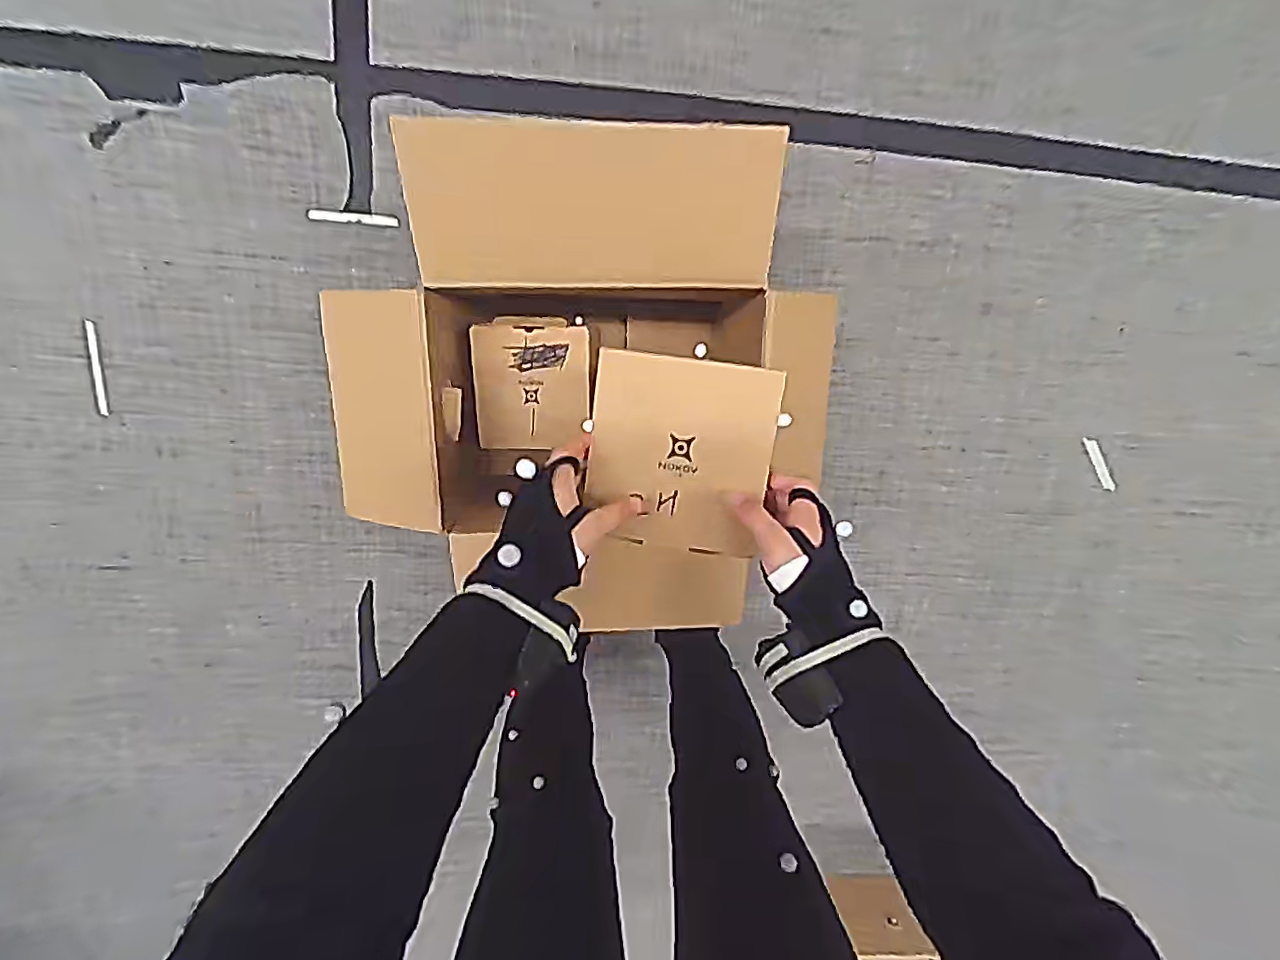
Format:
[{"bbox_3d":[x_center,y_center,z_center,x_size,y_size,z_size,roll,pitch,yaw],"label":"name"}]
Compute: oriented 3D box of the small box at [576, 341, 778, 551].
[{"bbox_3d":[0.038,-0.046,0.573,0.168,0.176,0.179,9,104,5],"label":"small box"}]
